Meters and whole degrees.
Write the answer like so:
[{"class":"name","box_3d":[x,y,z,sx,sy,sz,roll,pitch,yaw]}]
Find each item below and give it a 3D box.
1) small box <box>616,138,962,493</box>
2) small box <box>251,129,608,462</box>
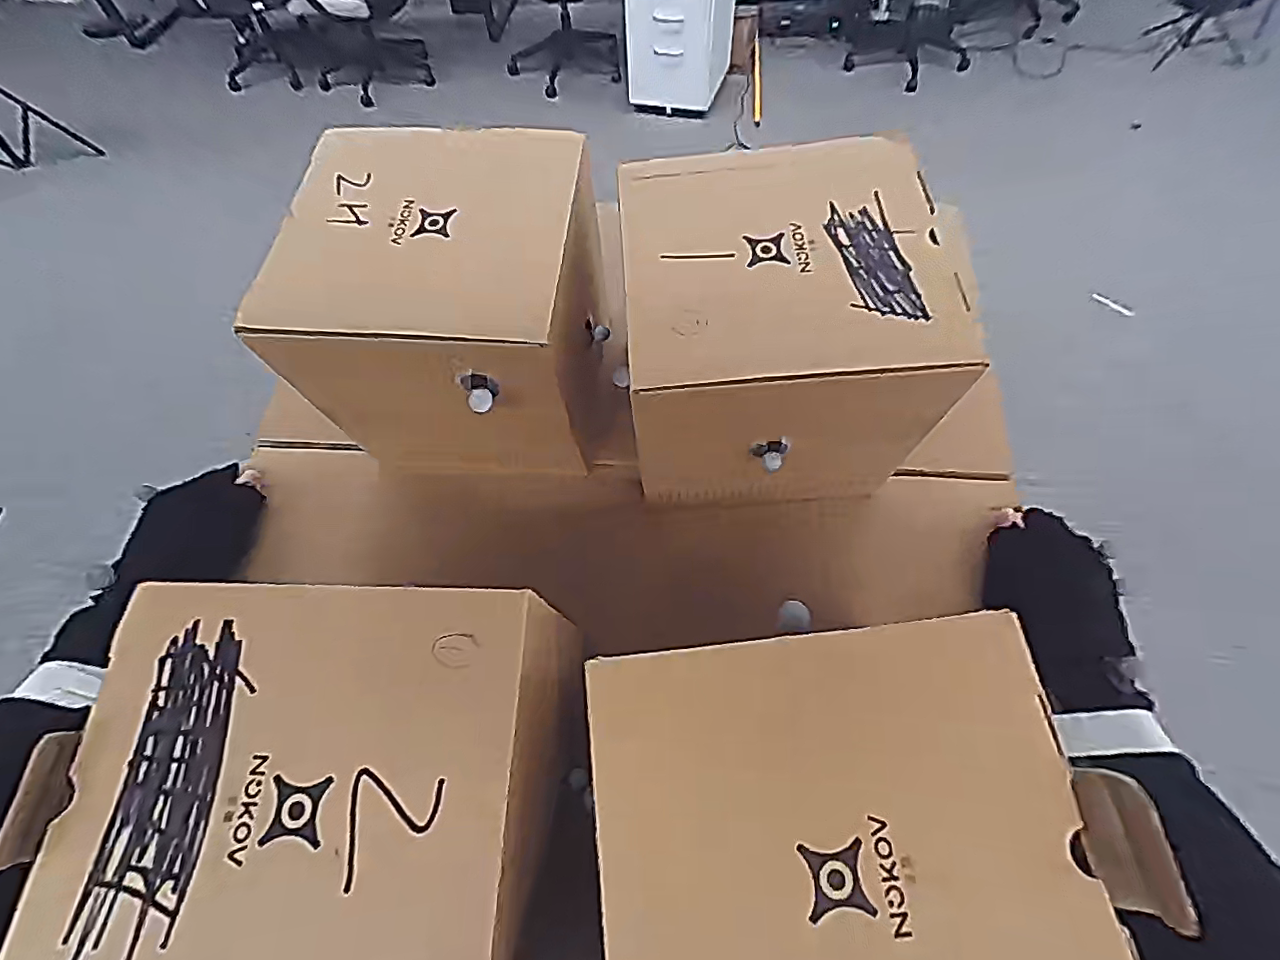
[{"class":"small box","box_3d":[0.079,-0.099,0.379,0.179,0.176,0.168,-4,66,3]},{"class":"small box","box_3d":[-0.123,-0.123,0.402,0.179,0.176,0.168,4,66,5]}]
